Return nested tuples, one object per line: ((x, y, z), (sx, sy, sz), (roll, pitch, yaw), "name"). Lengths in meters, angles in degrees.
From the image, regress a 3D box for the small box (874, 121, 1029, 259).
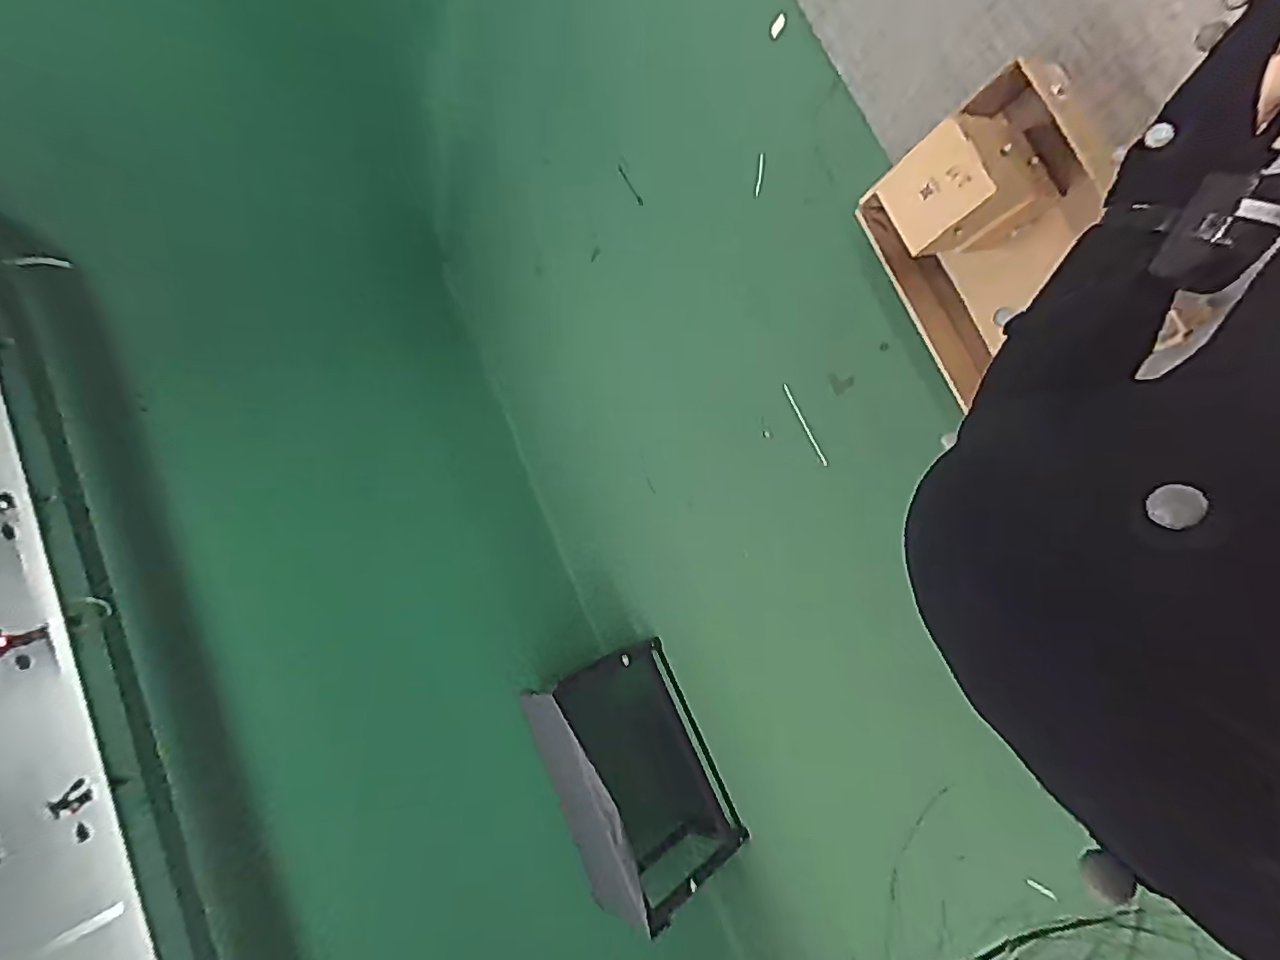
((0.610, -0.562, 1.063), (0.179, 0.176, 0.168), (-36, 77, 56), "small box")
